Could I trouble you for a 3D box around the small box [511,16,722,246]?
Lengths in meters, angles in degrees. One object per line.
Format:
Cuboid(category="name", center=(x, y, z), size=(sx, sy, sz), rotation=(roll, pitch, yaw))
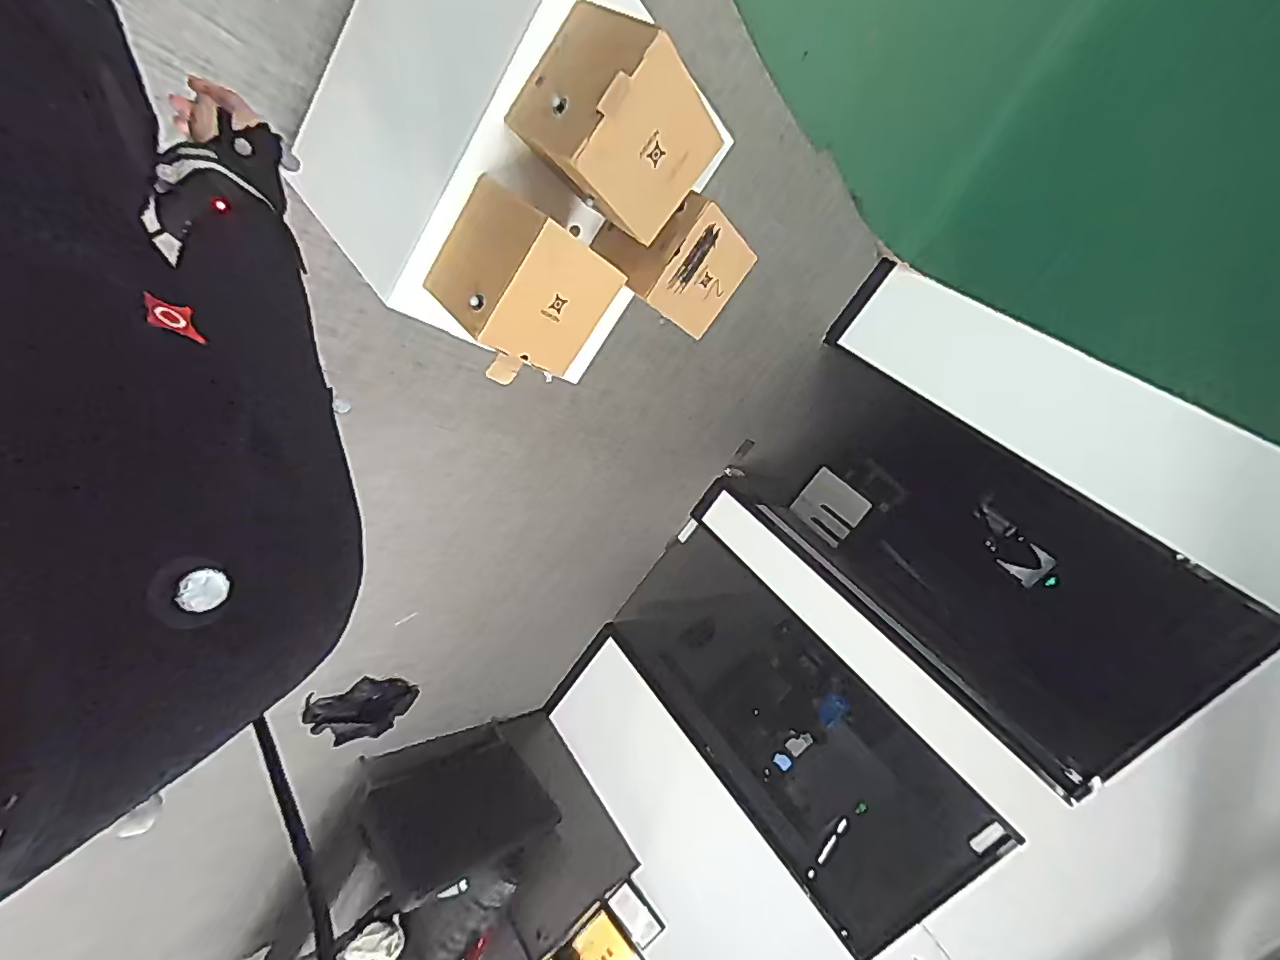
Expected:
Cuboid(category="small box", center=(-0.033, -0.448, 0.699), size=(0.168, 0.176, 0.179), rotation=(-51, 151, 13))
